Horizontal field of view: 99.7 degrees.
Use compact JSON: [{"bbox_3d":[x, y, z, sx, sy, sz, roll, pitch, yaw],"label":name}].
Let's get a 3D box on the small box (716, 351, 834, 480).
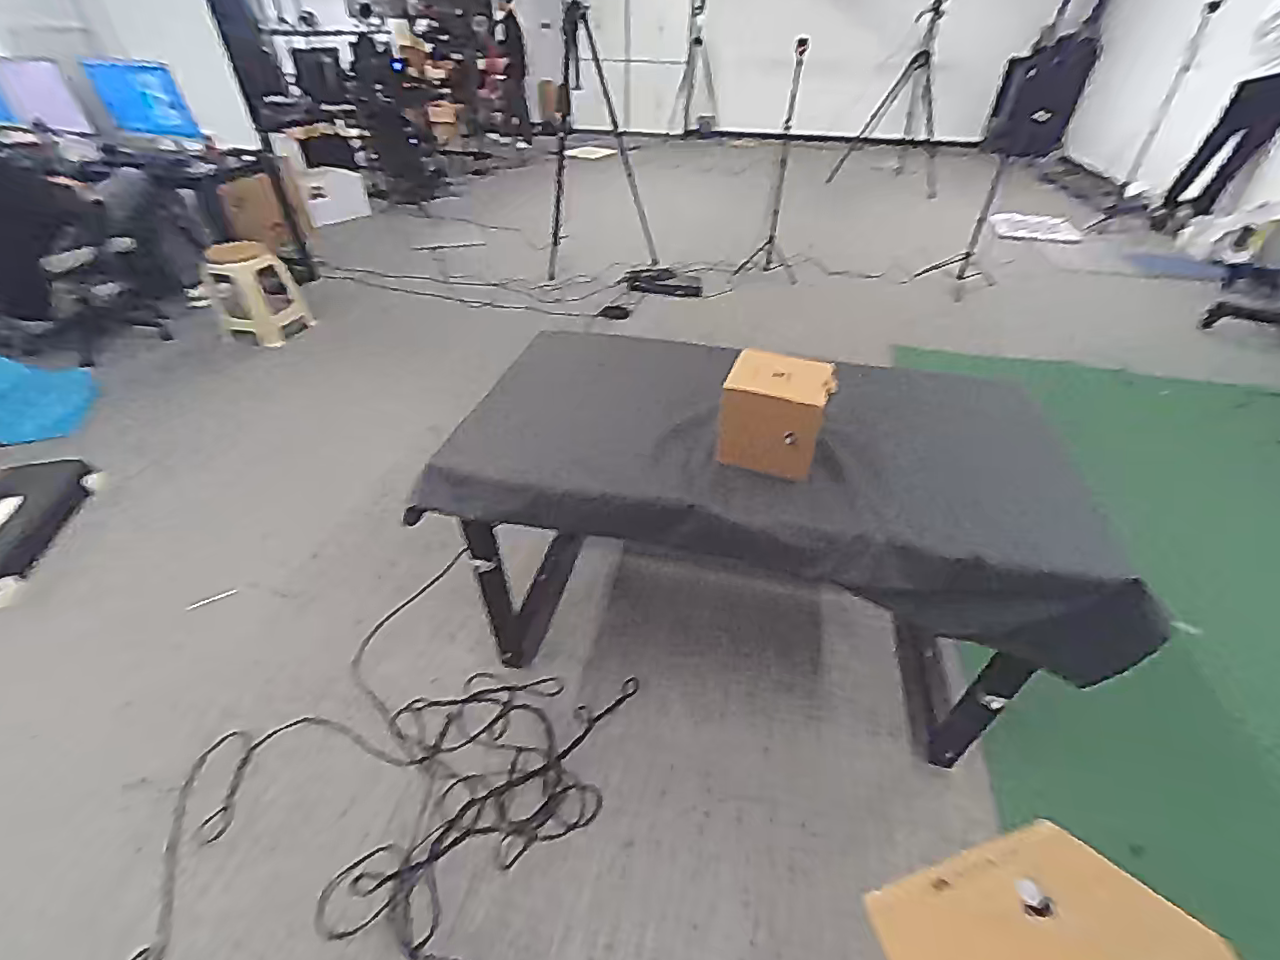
[{"bbox_3d":[0.254,-0.122,1.025,0.179,0.176,0.168,13,40,16],"label":"small box"}]
